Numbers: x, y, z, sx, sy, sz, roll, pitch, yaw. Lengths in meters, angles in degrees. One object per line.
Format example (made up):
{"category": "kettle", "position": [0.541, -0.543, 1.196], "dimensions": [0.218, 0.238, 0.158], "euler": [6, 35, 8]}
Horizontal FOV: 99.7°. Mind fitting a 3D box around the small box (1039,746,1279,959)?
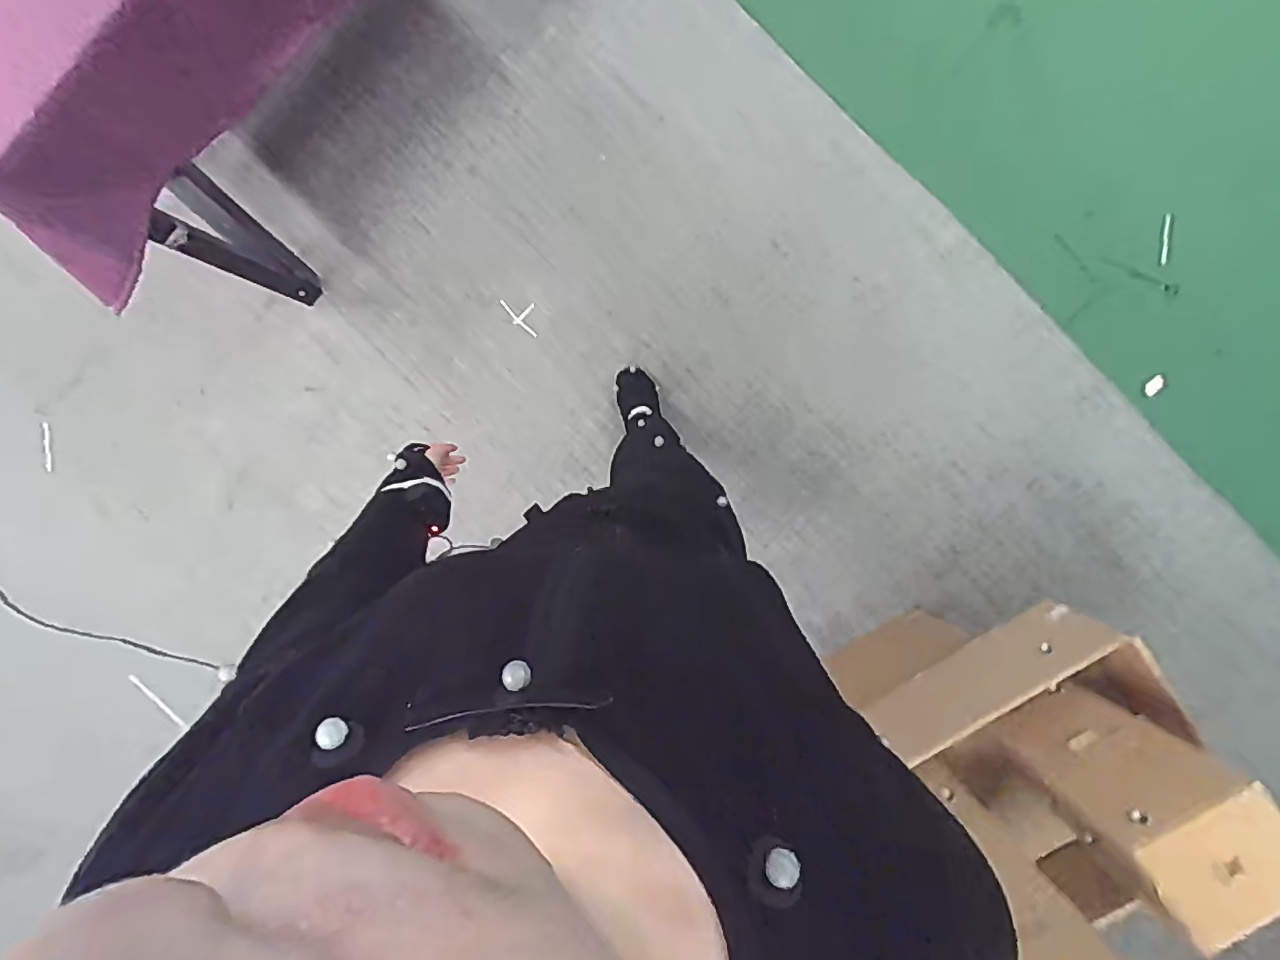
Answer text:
{"category": "small box", "position": [0.721, 0.514, 0.753], "dimensions": [0.179, 0.176, 0.168], "euler": [-33, 91, 5]}
